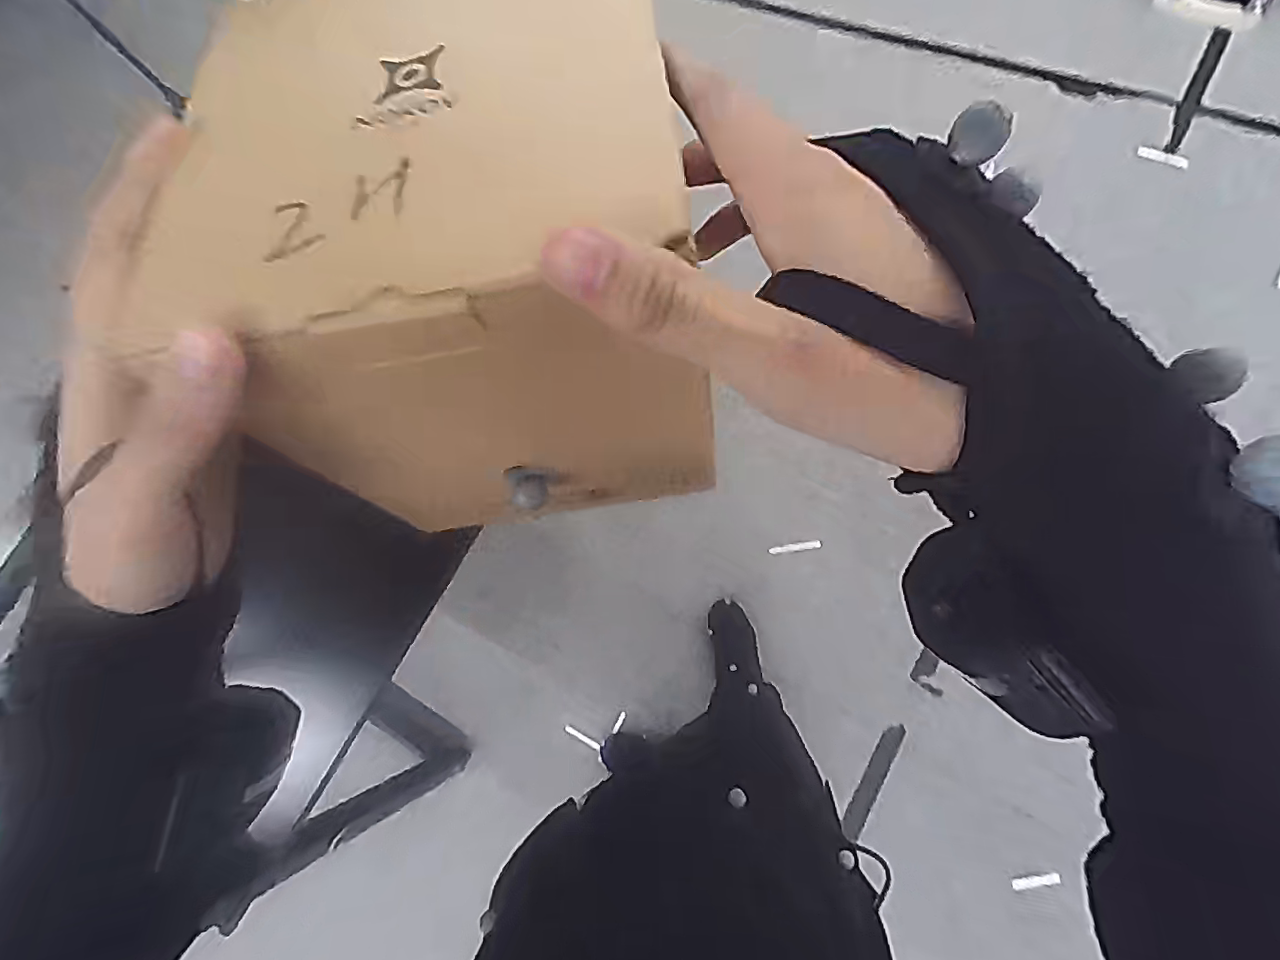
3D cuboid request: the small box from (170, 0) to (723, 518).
[{"bbox_3d":[-0.054,-0.097,0.257,0.168,0.176,0.179,-9,68,7],"label":"small box"}]
